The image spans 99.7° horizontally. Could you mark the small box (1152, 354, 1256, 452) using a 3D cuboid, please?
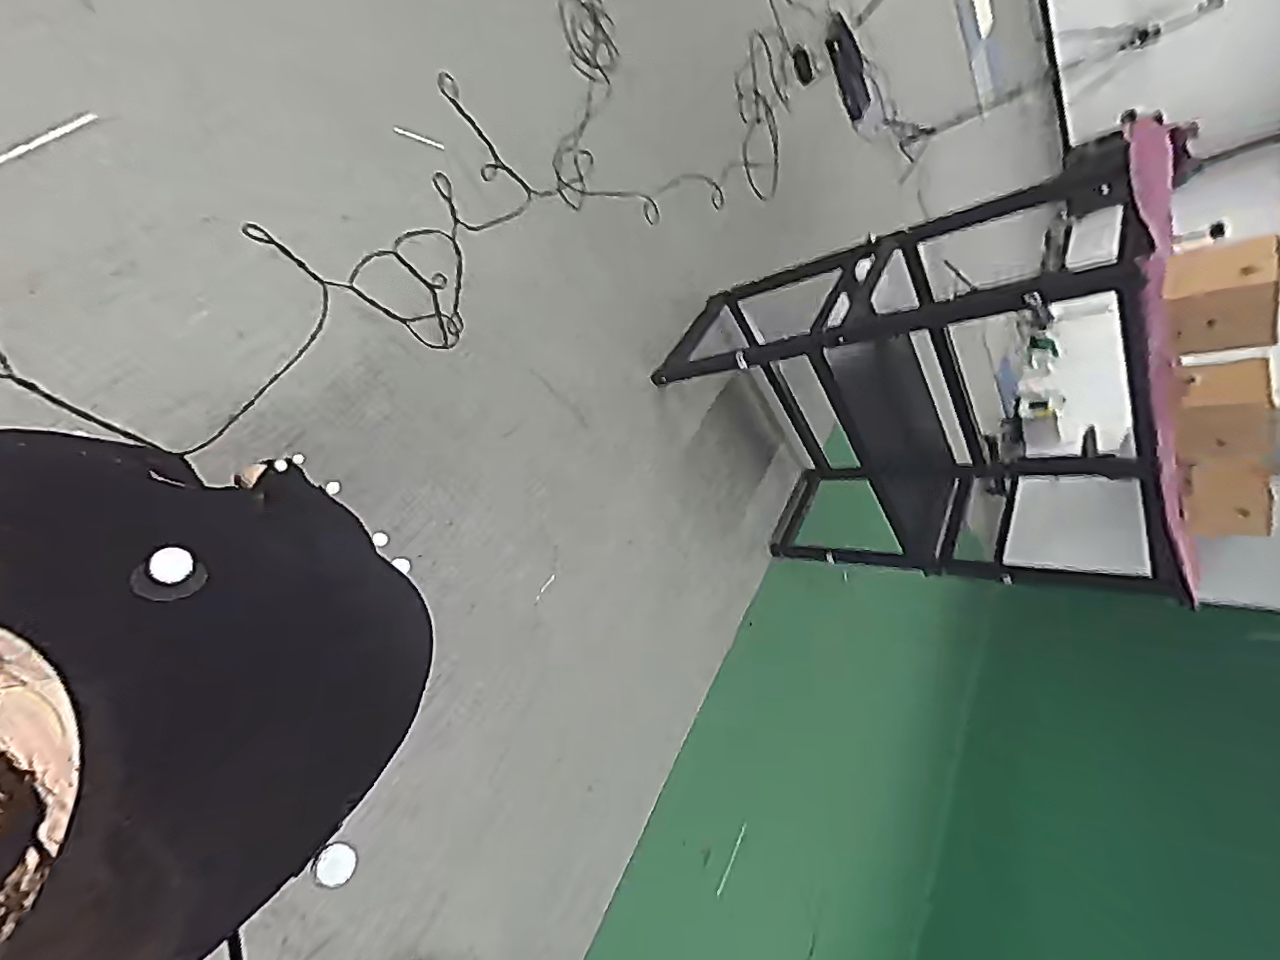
[{"bbox_3d":[1.404,-0.186,1.348,0.179,0.176,0.168,50,57,-30],"label":"small box"}]

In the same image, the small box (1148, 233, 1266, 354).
[{"bbox_3d":[1.229,-0.397,1.178,0.168,0.176,0.179,52,57,-32],"label":"small box"}]

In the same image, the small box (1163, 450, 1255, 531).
[{"bbox_3d":[1.604,0.032,1.532,0.179,0.176,0.168,53,54,-29],"label":"small box"}]
